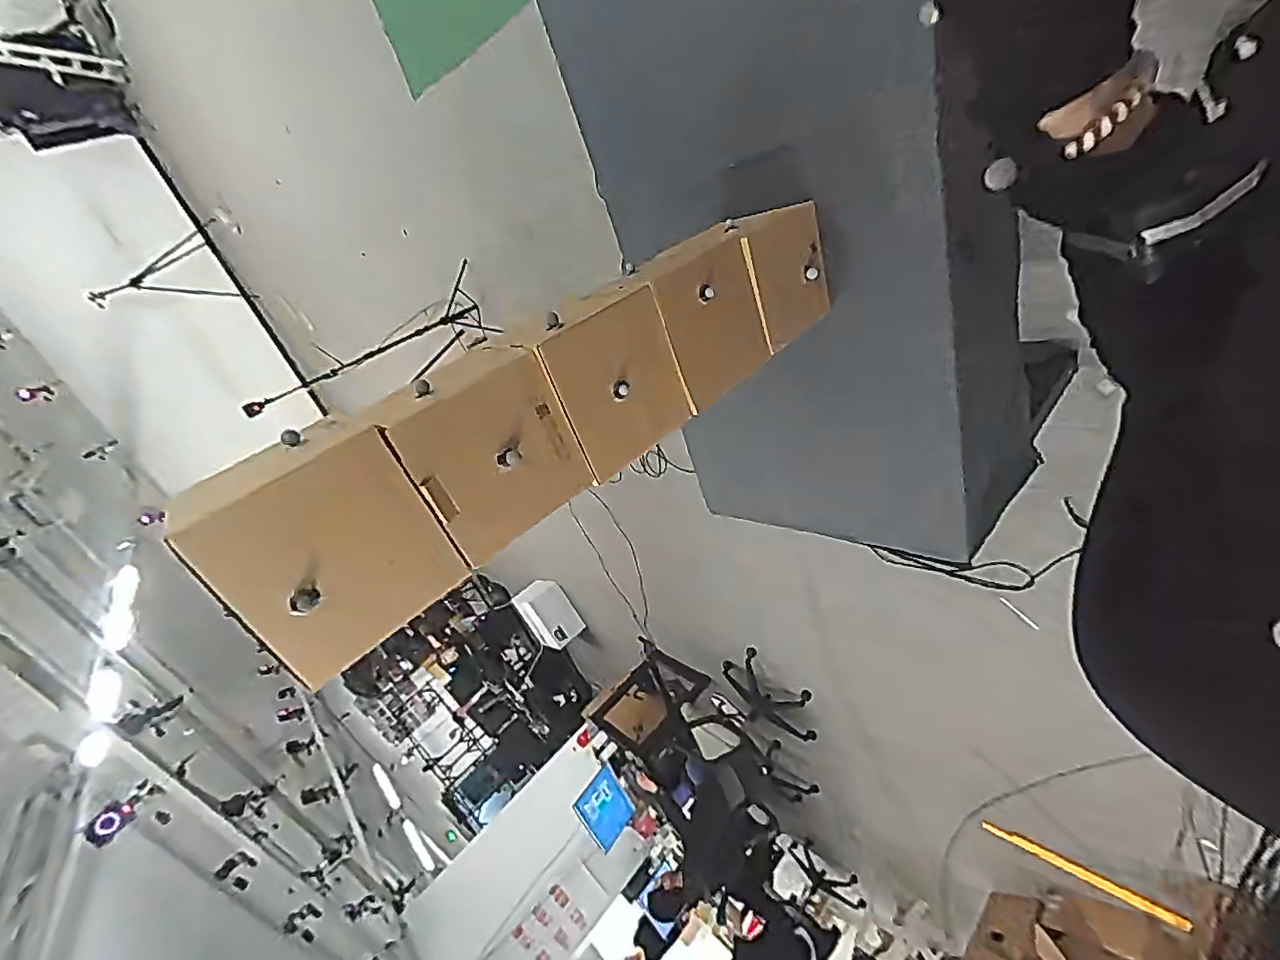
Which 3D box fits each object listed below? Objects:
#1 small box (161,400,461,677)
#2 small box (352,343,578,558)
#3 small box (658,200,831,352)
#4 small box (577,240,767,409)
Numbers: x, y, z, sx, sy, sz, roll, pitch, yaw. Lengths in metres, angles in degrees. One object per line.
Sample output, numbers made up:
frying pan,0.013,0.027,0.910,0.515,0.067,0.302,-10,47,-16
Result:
small box,-0.304,0.043,0.522,0.168,0.176,0.179,14,134,49
small box,-0.190,-0.043,0.605,0.179,0.176,0.168,12,132,49
small box,0.162,-0.305,0.824,0.179,0.176,0.168,13,133,47
small box,0.049,-0.215,0.748,0.168,0.176,0.179,12,132,50
